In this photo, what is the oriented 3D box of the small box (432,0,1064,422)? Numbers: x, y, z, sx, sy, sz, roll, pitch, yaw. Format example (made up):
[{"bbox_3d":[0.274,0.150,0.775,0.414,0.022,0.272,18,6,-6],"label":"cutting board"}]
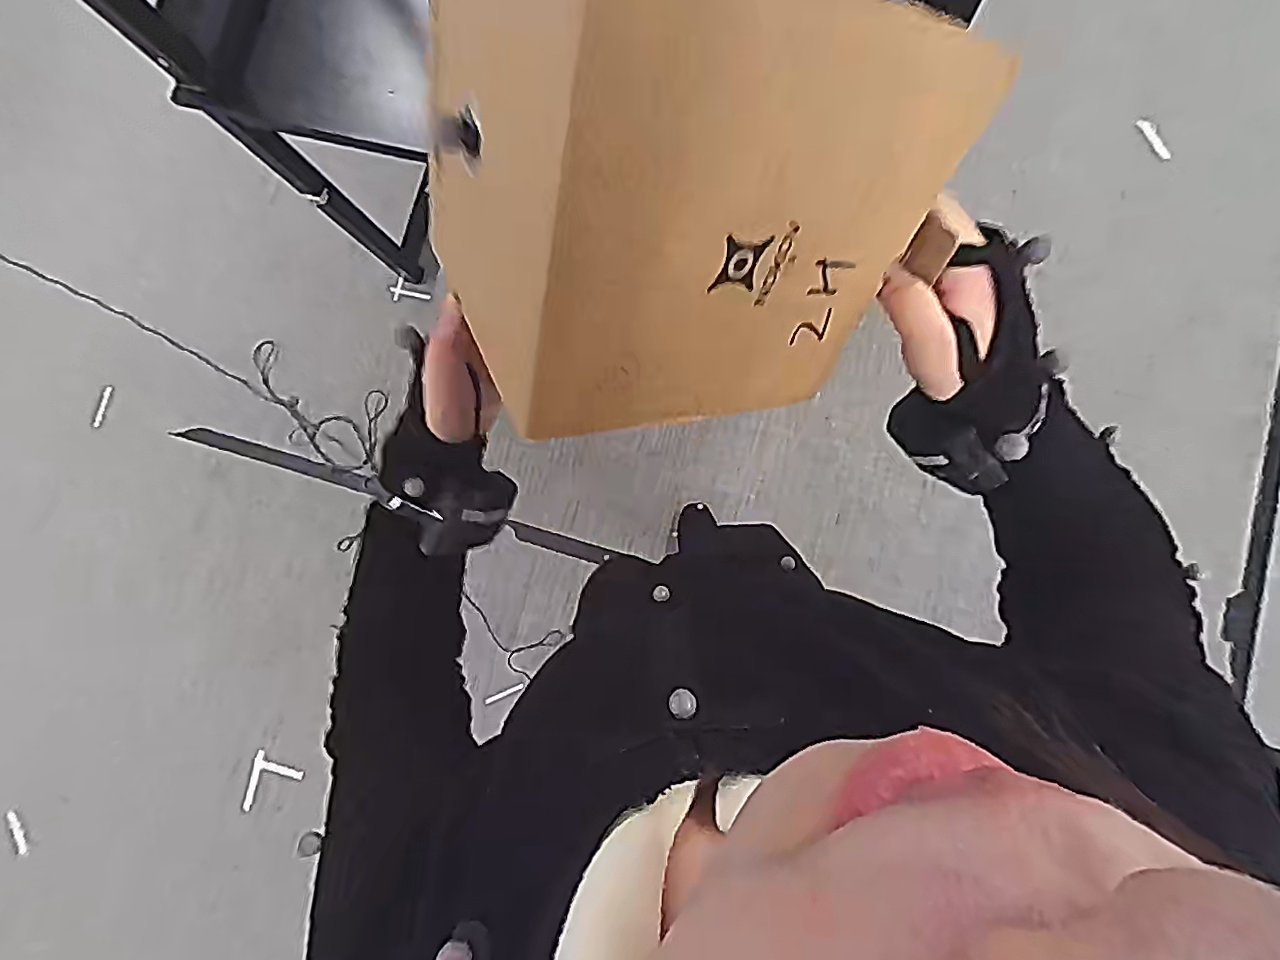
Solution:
[{"bbox_3d":[0.013,-0.149,0.238,0.179,0.168,0.176,-11,54,-29],"label":"small box"}]
